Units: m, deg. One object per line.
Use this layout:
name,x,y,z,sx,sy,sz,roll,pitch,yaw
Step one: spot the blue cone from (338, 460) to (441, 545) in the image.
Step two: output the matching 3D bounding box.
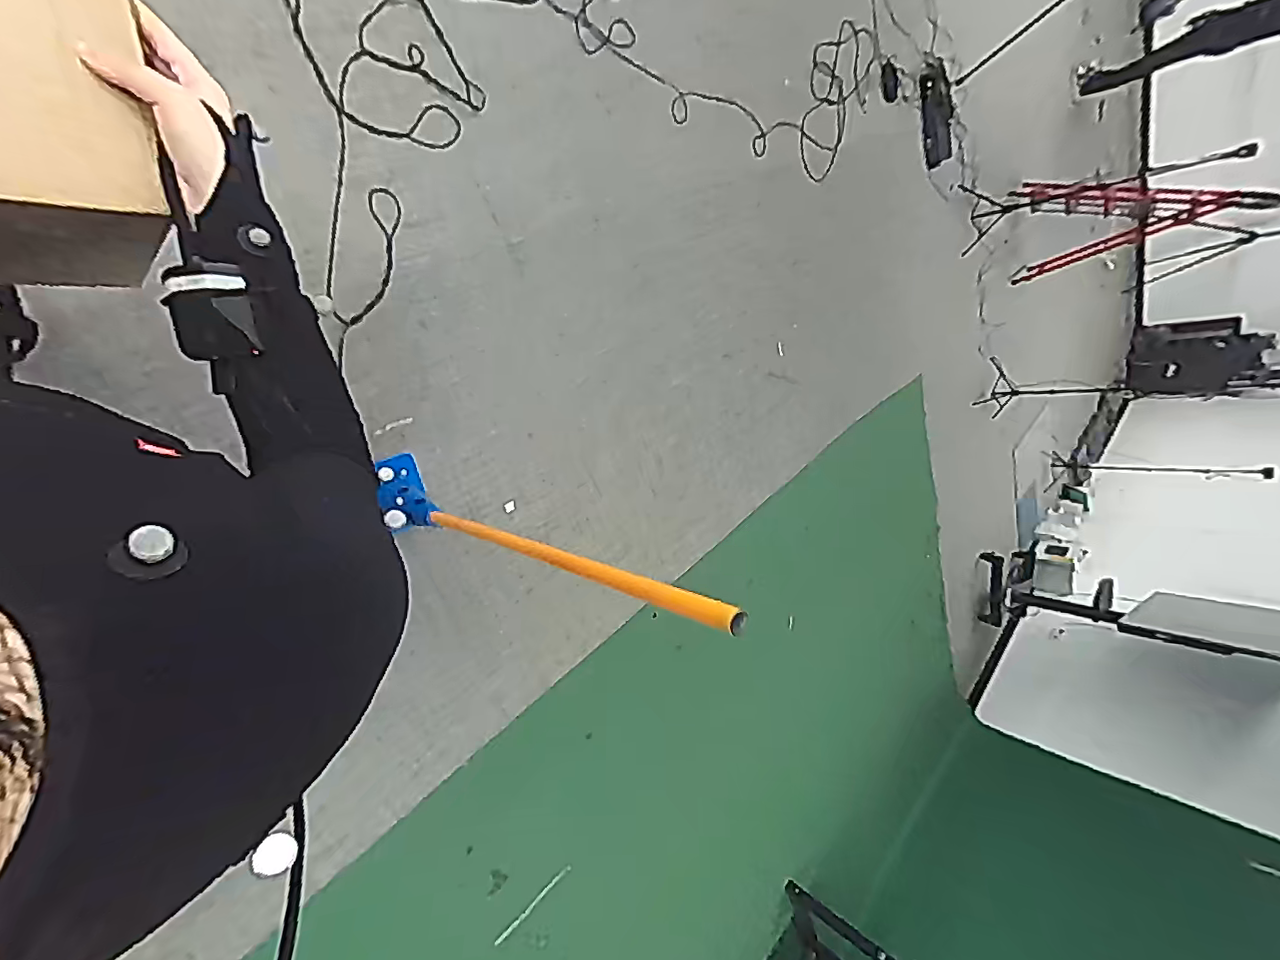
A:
blue cone,-0.568,0.071,1.300,0.193,0.380,0.192,-24,111,-37

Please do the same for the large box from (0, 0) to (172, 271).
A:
large box,-0.599,-0.322,0.324,0.408,0.320,0.320,-17,108,-46
